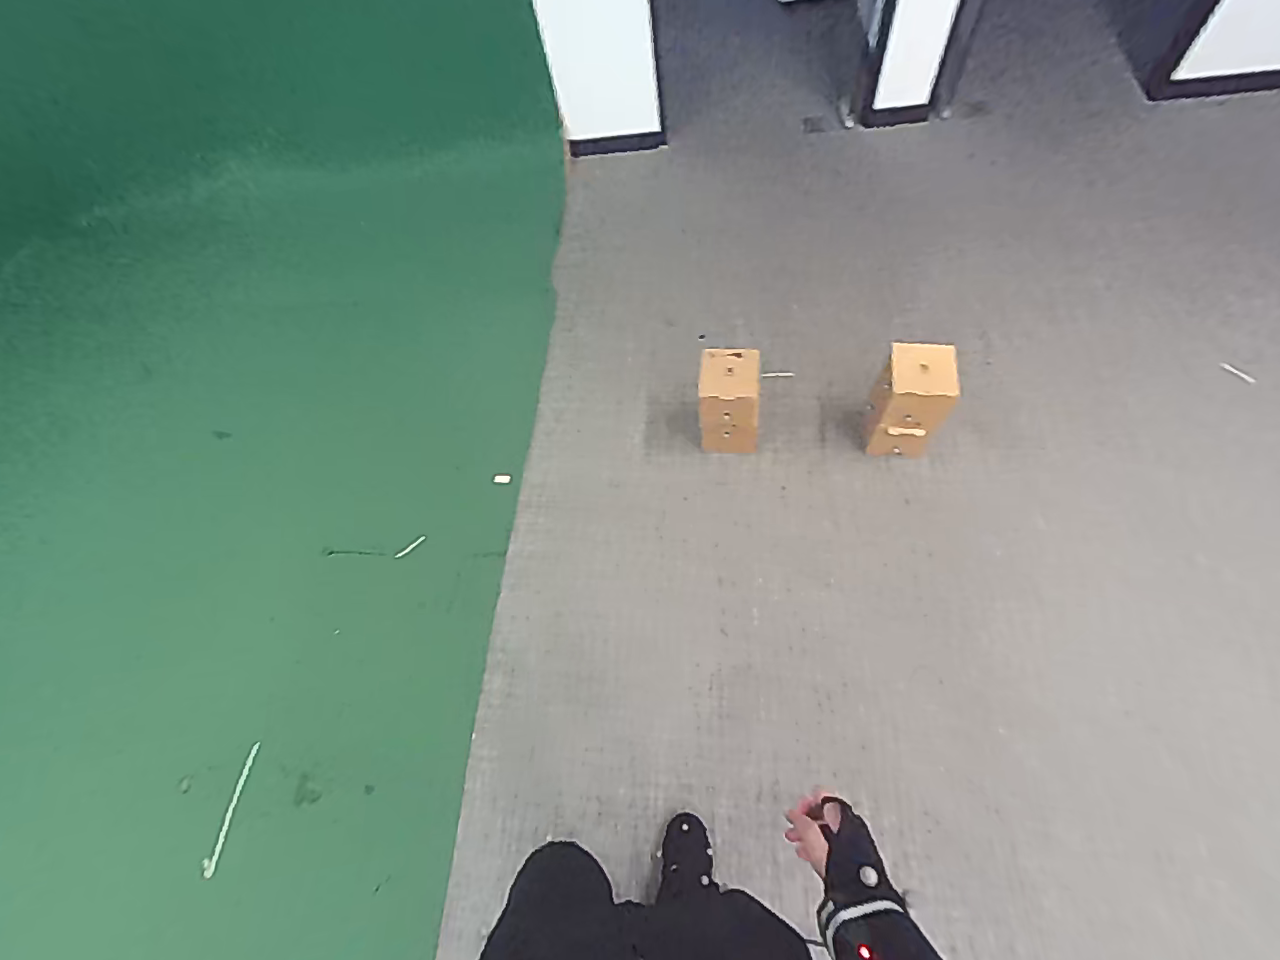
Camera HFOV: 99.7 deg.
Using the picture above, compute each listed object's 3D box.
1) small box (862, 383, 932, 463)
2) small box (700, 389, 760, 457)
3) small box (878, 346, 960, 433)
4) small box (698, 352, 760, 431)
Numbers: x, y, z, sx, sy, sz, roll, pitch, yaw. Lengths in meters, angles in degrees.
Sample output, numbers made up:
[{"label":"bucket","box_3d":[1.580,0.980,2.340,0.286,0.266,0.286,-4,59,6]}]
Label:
[{"label":"small box","box_3d":[0.799,-0.178,1.683,0.168,0.176,0.179,10,65,16]},{"label":"small box","box_3d":[0.295,-0.188,1.767,0.179,0.176,0.168,5,63,11]},{"label":"small box","box_3d":[0.786,-0.256,1.543,0.168,0.176,0.179,6,64,11]},{"label":"small box","box_3d":[0.268,-0.261,1.623,0.168,0.176,0.179,4,64,11]}]
